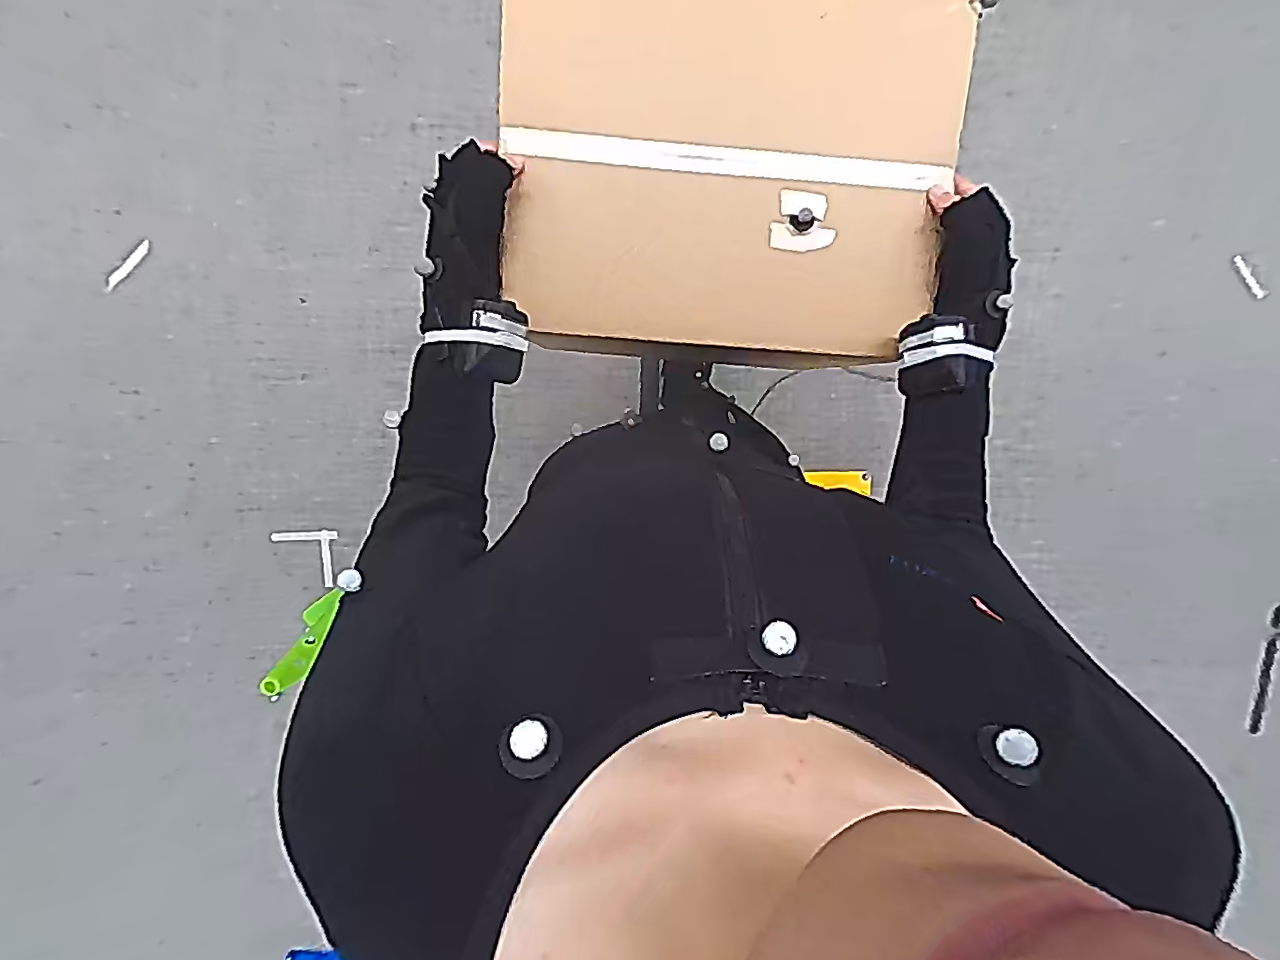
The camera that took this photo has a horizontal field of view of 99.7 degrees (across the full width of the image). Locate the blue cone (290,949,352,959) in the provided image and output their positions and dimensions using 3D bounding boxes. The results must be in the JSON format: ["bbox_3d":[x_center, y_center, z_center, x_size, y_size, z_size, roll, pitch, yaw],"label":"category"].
[{"bbox_3d":[-0.955,1.517,1.463,0.192,0.380,0.193,4,97,-1],"label":"blue cone"}]

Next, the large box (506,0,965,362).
[{"bbox_3d":[0.071,-0.312,0.631,0.408,0.320,0.320,3,100,-4],"label":"large box"}]

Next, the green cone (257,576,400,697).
[{"bbox_3d":[-0.783,0.409,1.309,0.202,0.368,0.200,-36,96,4],"label":"green cone"}]

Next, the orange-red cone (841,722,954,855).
[{"bbox_3d":[0.694,0.823,1.413,0.198,0.360,0.199,-2,96,-3],"label":"orange-red cone"}]
